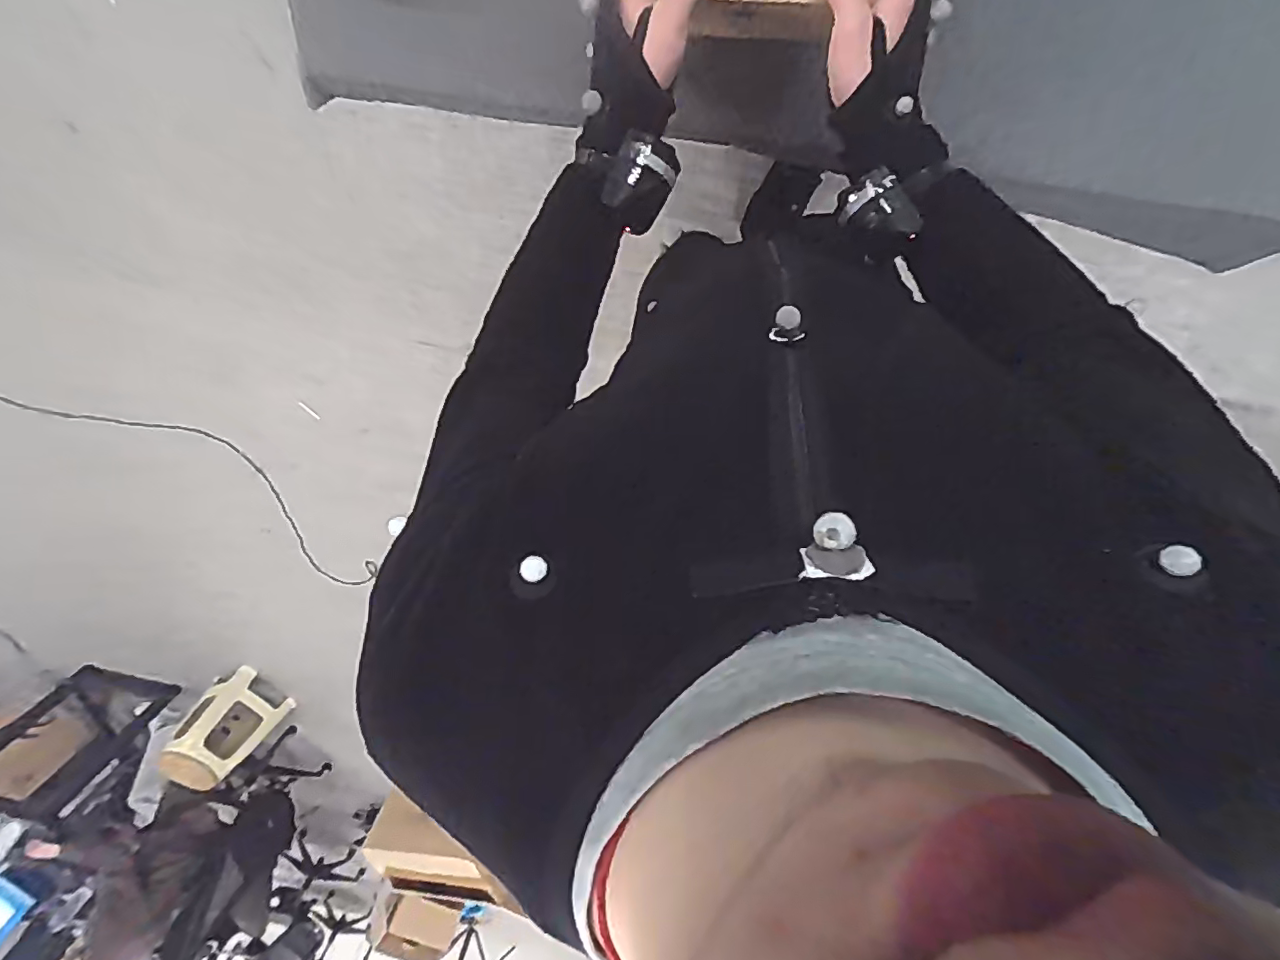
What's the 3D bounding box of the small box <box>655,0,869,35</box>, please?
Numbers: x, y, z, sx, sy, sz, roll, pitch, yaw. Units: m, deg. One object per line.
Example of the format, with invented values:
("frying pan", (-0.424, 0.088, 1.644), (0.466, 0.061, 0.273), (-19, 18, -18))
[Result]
("small box", (0.100, -0.466, 0.421), (0.179, 0.176, 0.168), (5, 123, 3))
